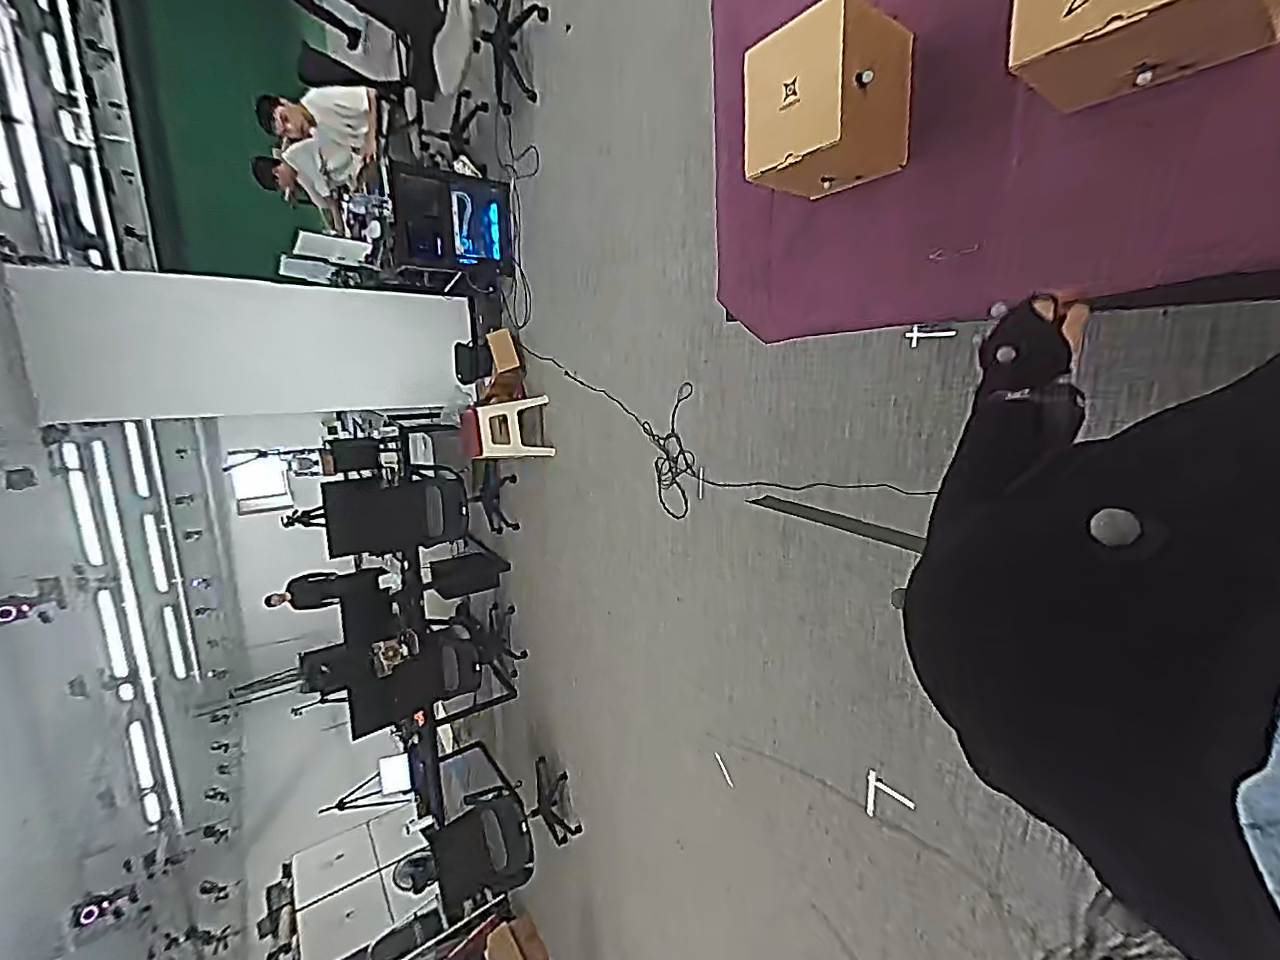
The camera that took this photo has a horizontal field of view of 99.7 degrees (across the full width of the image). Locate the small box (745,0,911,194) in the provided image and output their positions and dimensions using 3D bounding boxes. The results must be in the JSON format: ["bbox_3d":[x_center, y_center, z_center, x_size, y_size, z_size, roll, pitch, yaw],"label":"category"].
[{"bbox_3d":[0.271,-0.540,0.783,0.168,0.176,0.179,12,108,53],"label":"small box"}]

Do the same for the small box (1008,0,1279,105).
[{"bbox_3d":[0.475,-0.491,0.499,0.168,0.176,0.179,14,110,54],"label":"small box"}]
